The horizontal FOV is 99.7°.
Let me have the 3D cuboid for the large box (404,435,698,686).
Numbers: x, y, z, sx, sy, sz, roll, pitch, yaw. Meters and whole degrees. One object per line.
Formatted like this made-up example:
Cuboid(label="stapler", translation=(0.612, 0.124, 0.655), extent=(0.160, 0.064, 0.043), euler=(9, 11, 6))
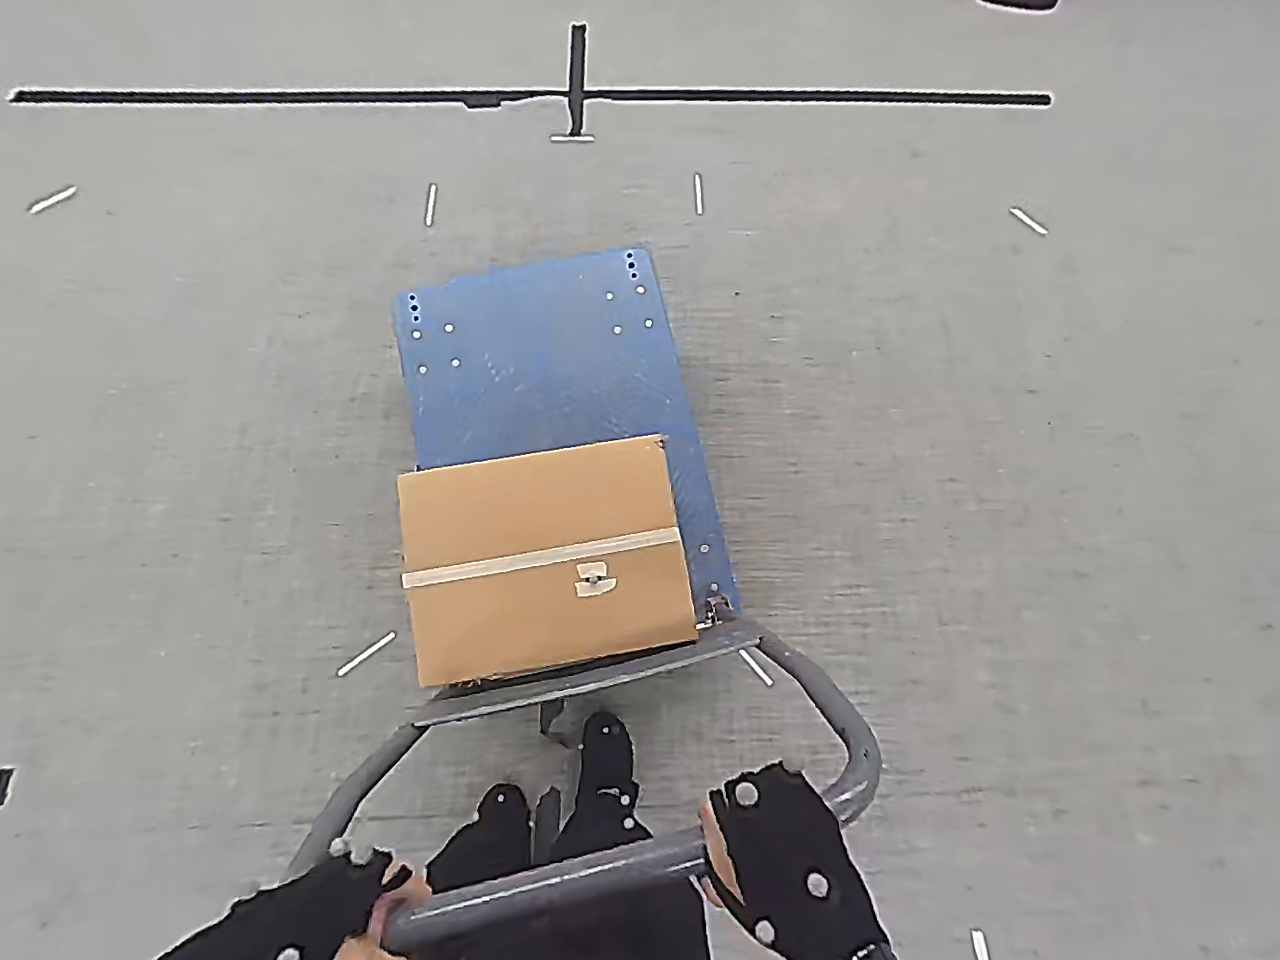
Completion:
Cuboid(label="large box", translation=(-0.143, 0.137, 0.949), extent=(0.408, 0.320, 0.320), euler=(-9, 82, -5))
